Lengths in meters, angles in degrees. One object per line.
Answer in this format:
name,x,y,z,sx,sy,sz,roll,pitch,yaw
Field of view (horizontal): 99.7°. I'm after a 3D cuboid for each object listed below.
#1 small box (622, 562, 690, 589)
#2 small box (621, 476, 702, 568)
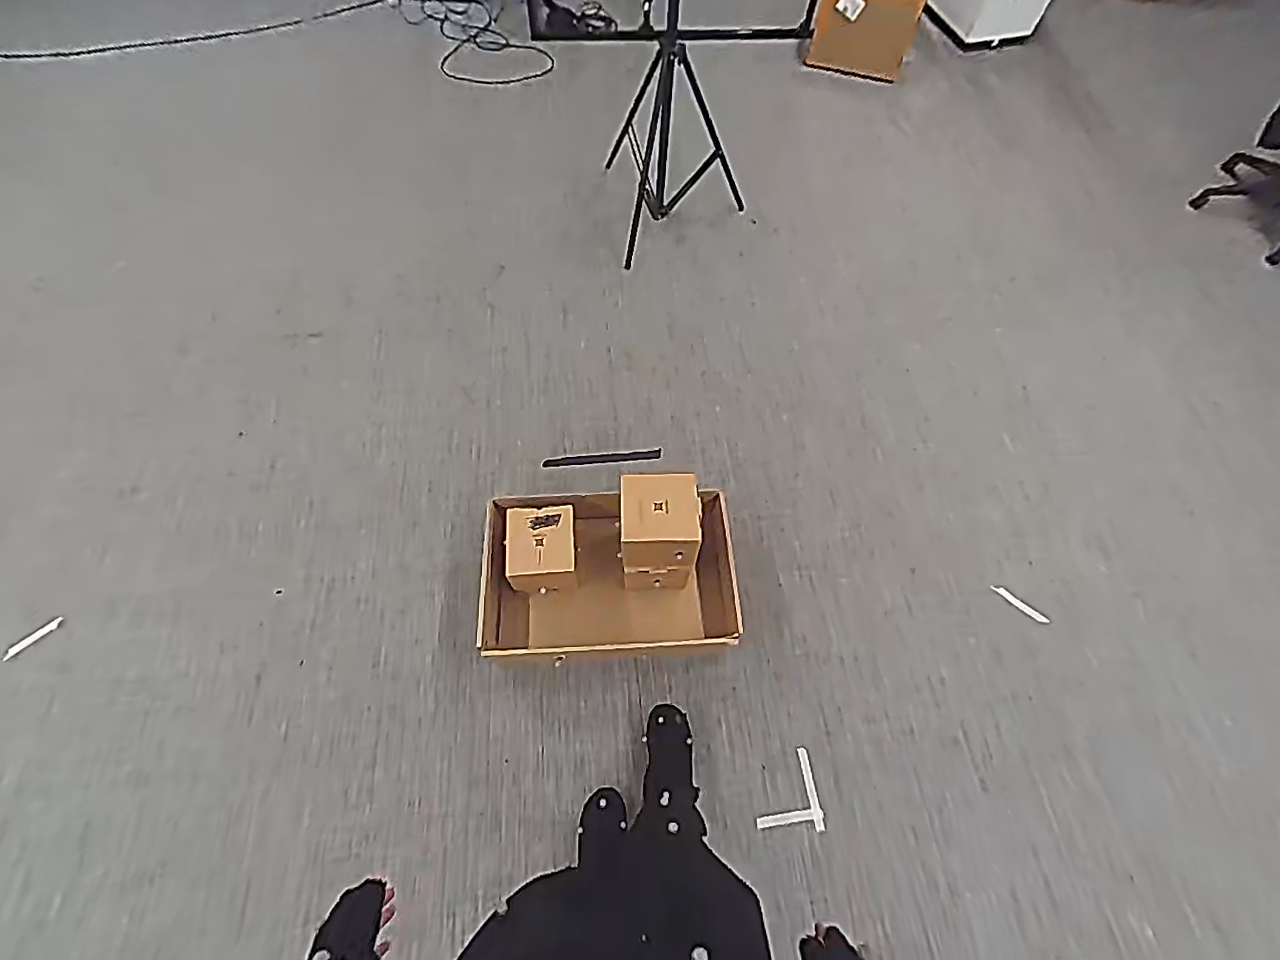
small box,0.036,0.182,1.403,0.168,0.176,0.179,-3,64,-2
small box,0.044,0.102,1.260,0.179,0.176,0.168,-2,62,-1
